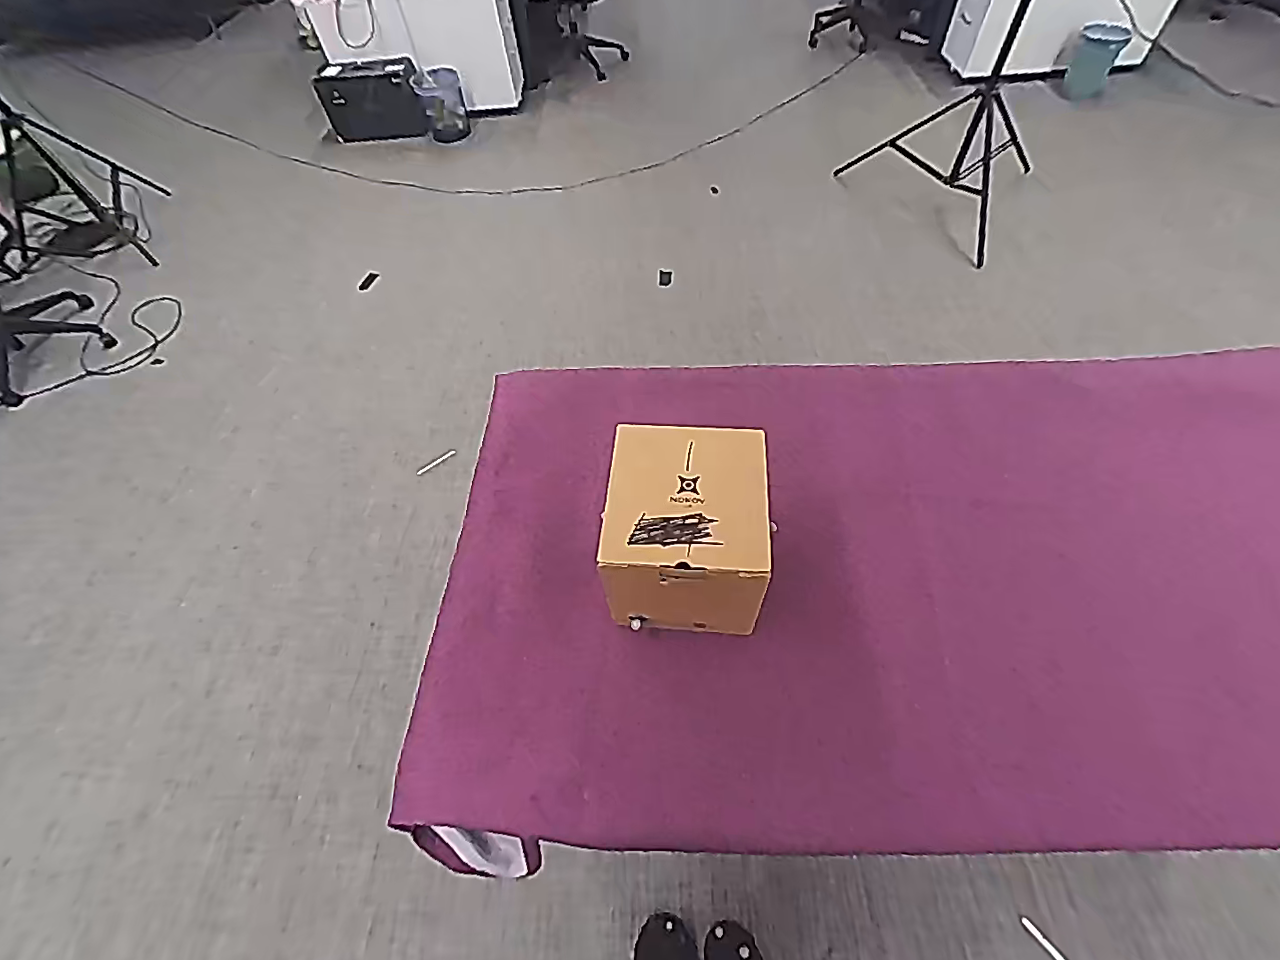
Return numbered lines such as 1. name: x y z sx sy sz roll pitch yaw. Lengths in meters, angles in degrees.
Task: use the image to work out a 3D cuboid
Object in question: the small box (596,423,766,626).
1. small box: 0.051 0.056 0.623 0.168 0.176 0.179 3 55 5
